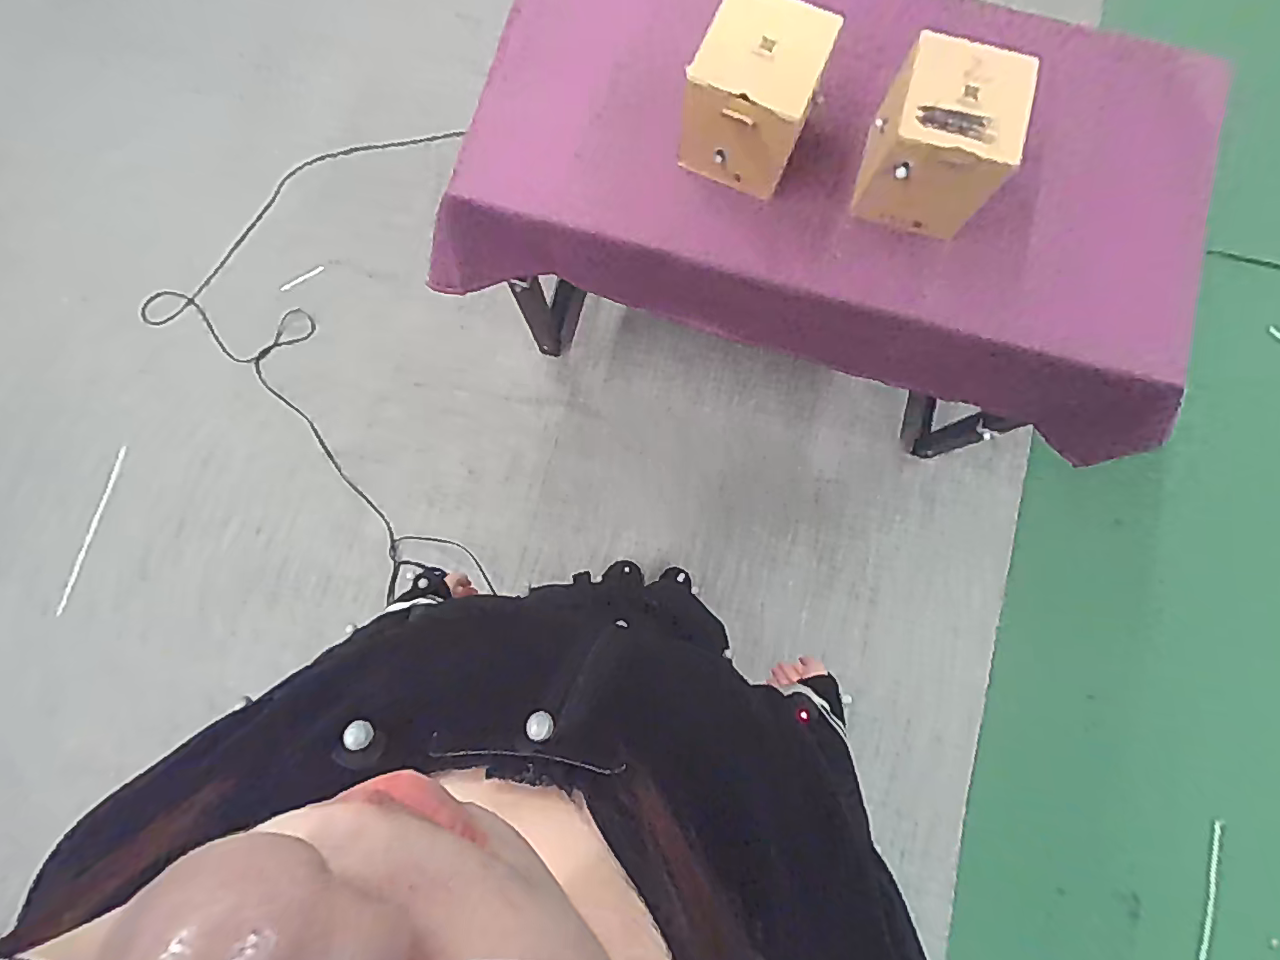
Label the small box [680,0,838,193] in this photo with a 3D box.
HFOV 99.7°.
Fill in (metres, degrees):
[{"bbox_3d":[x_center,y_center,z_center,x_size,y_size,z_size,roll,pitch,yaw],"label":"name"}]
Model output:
[{"bbox_3d":[0.168,-0.588,0.825,0.168,0.176,0.179,23,84,2],"label":"small box"}]
